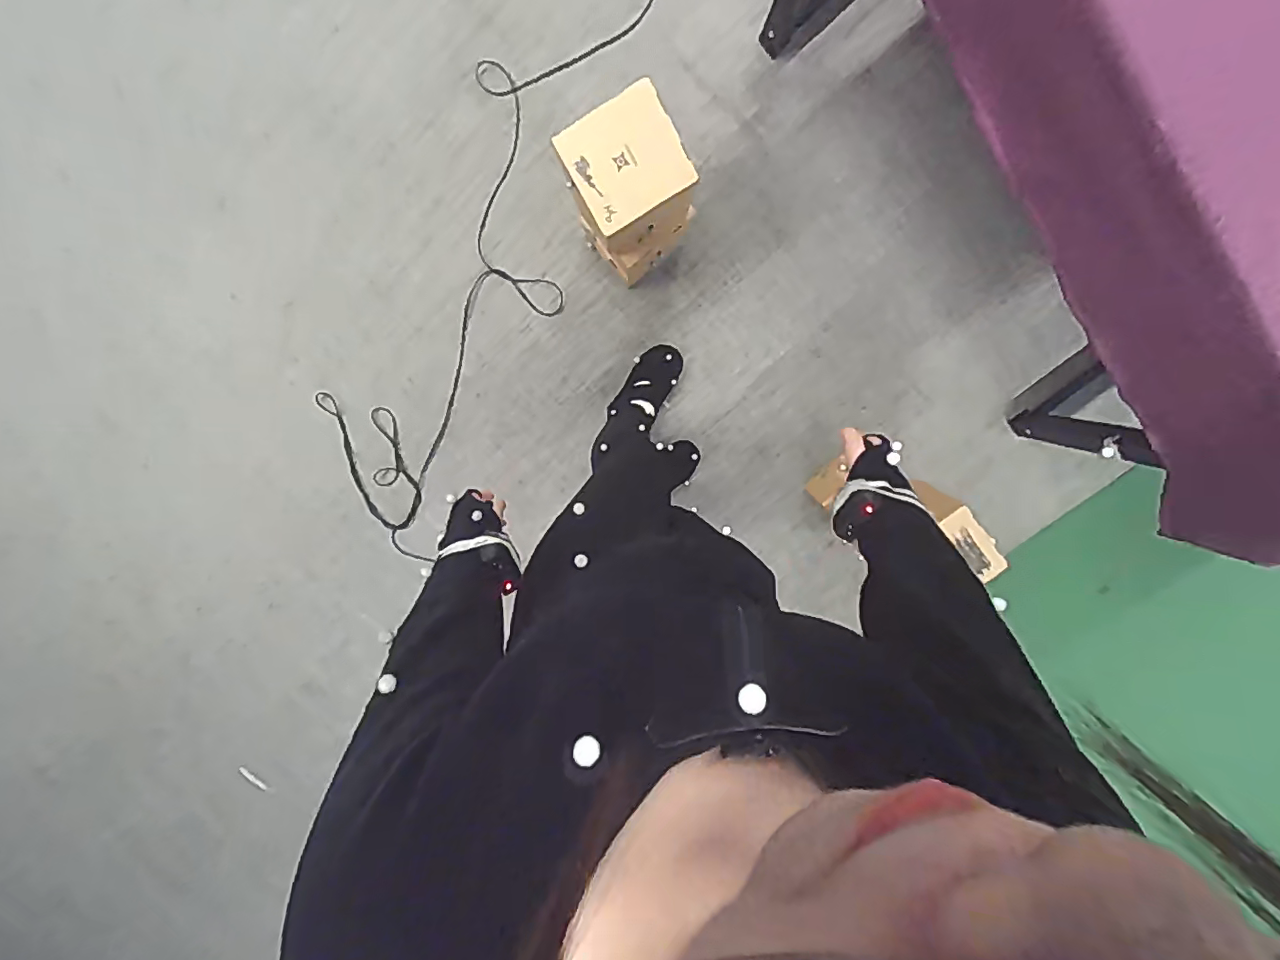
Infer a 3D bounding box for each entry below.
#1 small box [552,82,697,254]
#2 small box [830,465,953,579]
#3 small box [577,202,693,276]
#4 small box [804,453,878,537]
[{"bbox_3d":[-0.027,-0.512,0.916,0.179,0.176,0.168,-30,102,5],"label":"small box"},{"bbox_3d":[0.566,0.091,1.252,0.179,0.176,0.168,-38,103,8],"label":"small box"},{"bbox_3d":[-0.017,-0.534,1.081,0.168,0.176,0.179,-37,102,8],"label":"small box"},{"bbox_3d":[0.557,0.045,1.408,0.168,0.176,0.179,-40,102,9],"label":"small box"}]
